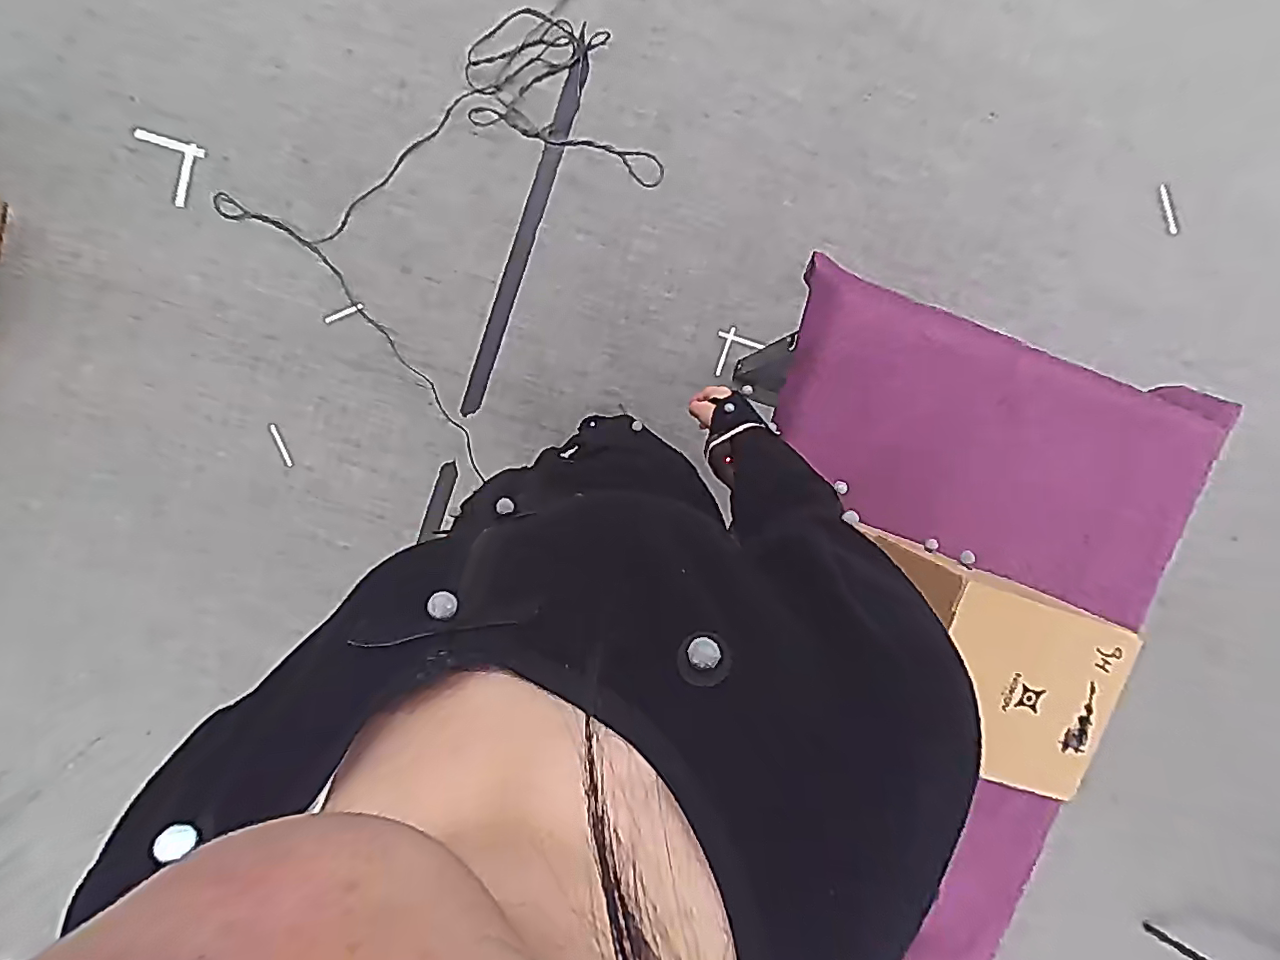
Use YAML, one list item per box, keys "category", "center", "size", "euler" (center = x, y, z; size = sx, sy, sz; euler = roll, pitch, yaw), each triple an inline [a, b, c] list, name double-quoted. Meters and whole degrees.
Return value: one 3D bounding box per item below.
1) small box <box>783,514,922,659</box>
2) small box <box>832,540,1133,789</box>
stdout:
- category: "small box"
  center: [0.315, 0.154, 0.724]
  size: [0.179, 0.176, 0.168]
  euler: [20, 96, -5]
- category: "small box"
  center: [0.329, 0.172, 0.561]
  size: [0.179, 0.176, 0.168]
  euler: [18, 96, -5]
